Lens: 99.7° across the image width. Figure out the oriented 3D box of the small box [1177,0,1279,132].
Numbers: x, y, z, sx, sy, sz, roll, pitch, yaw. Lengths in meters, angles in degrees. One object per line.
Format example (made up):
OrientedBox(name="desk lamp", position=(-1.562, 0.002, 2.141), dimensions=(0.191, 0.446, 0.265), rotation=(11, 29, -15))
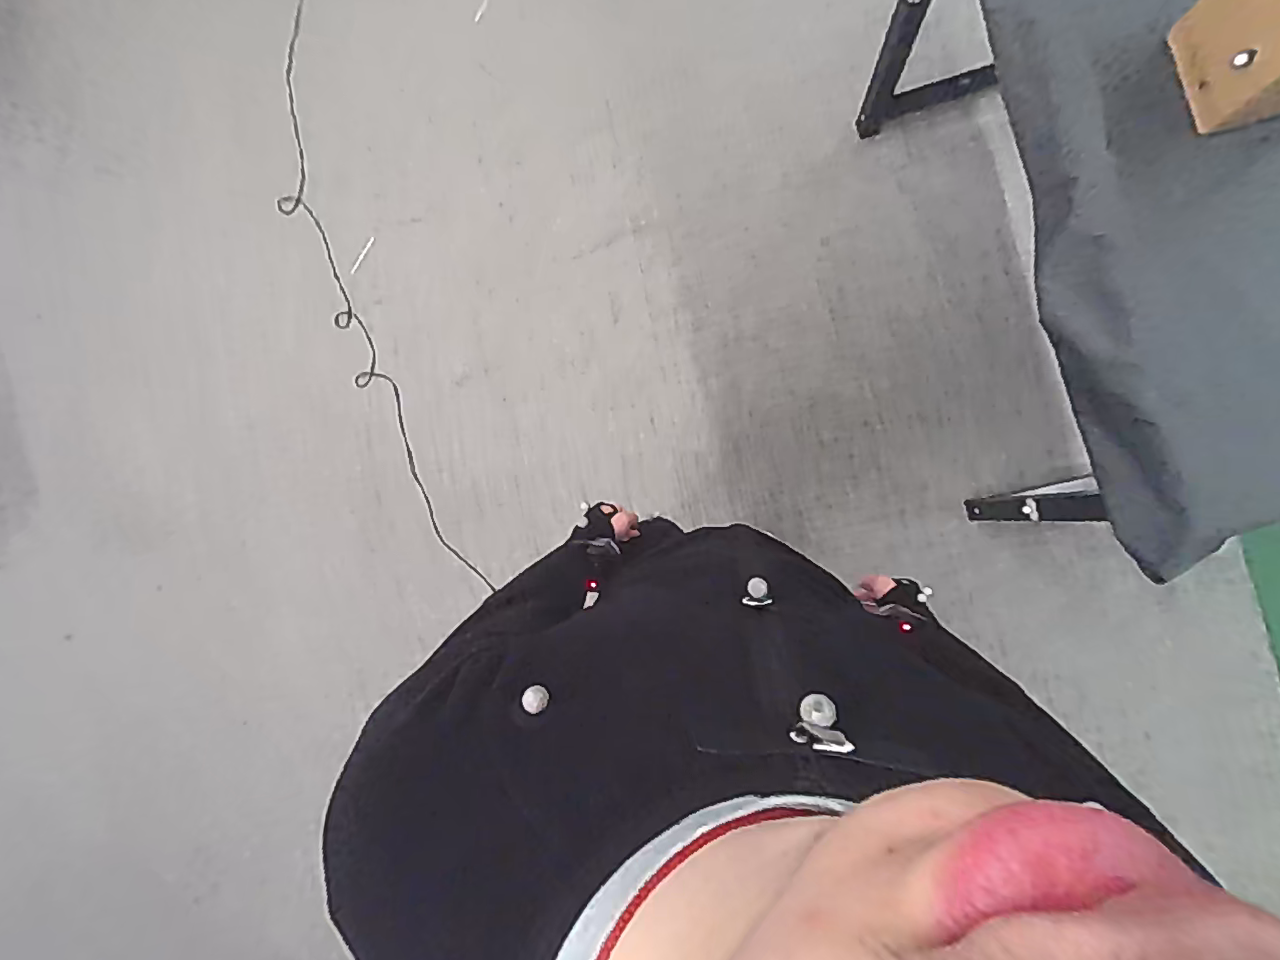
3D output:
OrientedBox(name="small box", position=(0.856, -0.593, 0.695), dimensions=(0.179, 0.176, 0.168), rotation=(-13, 87, 6))
